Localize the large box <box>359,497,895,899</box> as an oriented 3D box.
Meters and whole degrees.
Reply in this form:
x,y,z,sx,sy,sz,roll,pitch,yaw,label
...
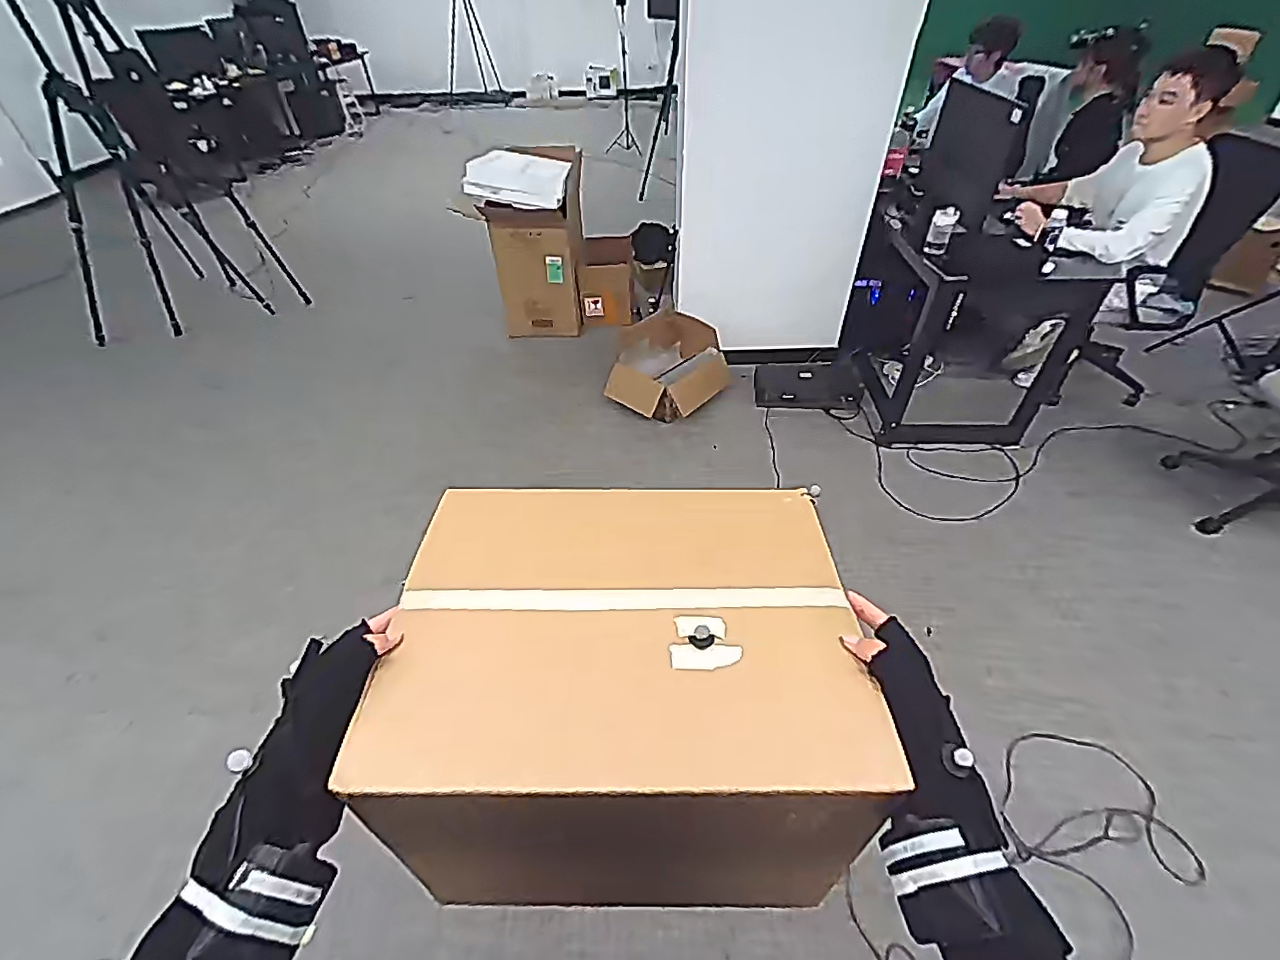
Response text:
x,y,z,sx,sy,sz,roll,pitch,yaw,label
-0.011,0.233,0.601,0.408,0.320,0.320,0,40,0,large box
